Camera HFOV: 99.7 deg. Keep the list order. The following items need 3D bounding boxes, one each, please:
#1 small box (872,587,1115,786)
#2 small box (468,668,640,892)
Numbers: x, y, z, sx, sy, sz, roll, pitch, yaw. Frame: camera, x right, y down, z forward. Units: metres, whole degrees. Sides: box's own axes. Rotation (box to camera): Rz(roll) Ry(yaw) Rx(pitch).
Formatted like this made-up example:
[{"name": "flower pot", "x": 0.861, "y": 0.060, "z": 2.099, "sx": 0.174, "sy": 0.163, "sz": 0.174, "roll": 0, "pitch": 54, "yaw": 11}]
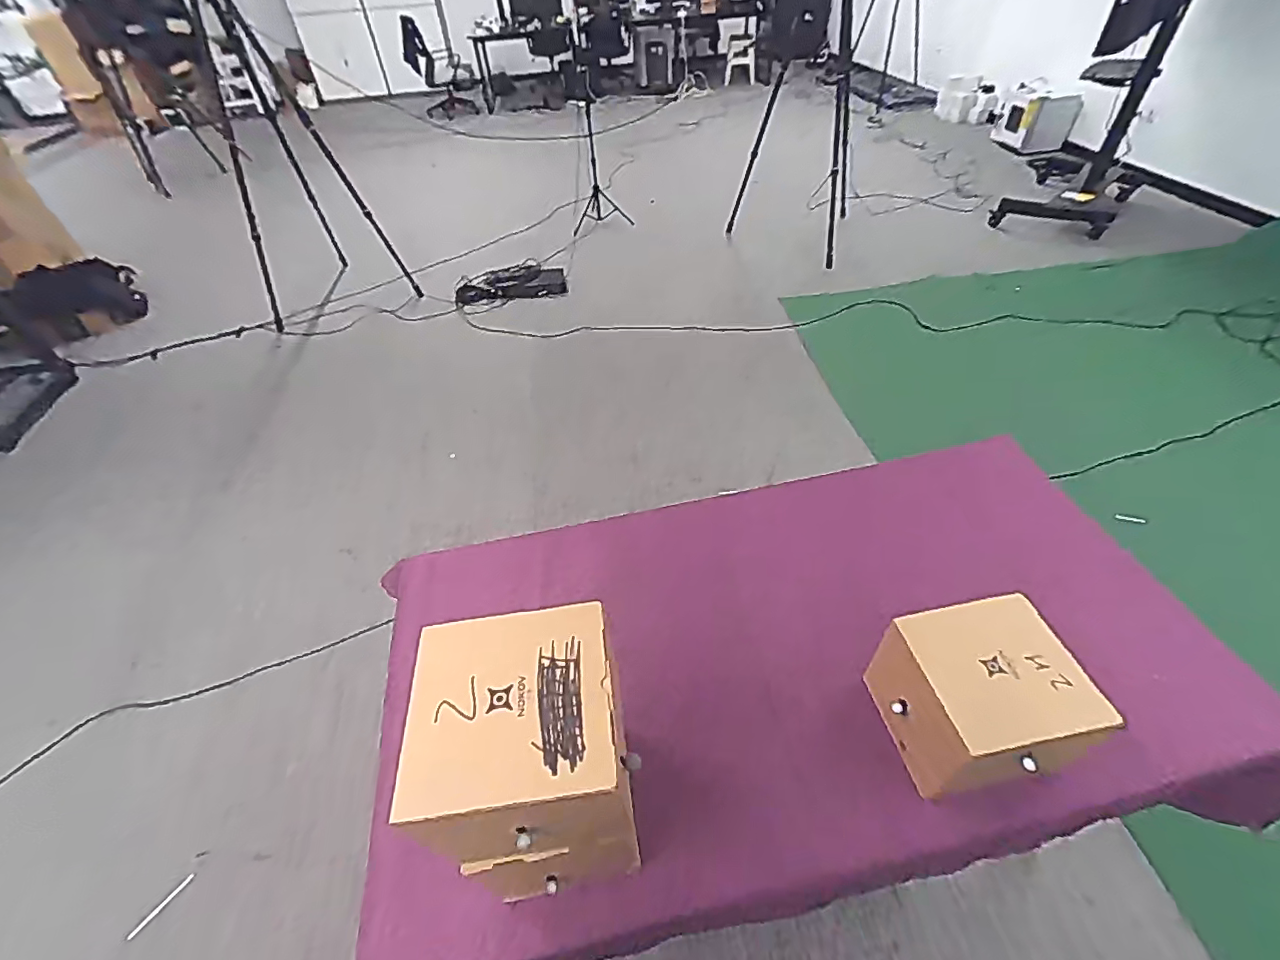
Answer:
[{"name": "small box", "x": 0.416, "y": 0.262, "z": 0.681, "sx": 0.179, "sy": 0.176, "sz": 0.168, "roll": -10, "pitch": 47, "yaw": -5}, {"name": "small box", "x": -0.096, "y": 0.353, "z": 0.639, "sx": 0.168, "sy": 0.176, "sz": 0.179, "roll": -10, "pitch": 47, "yaw": -5}]
